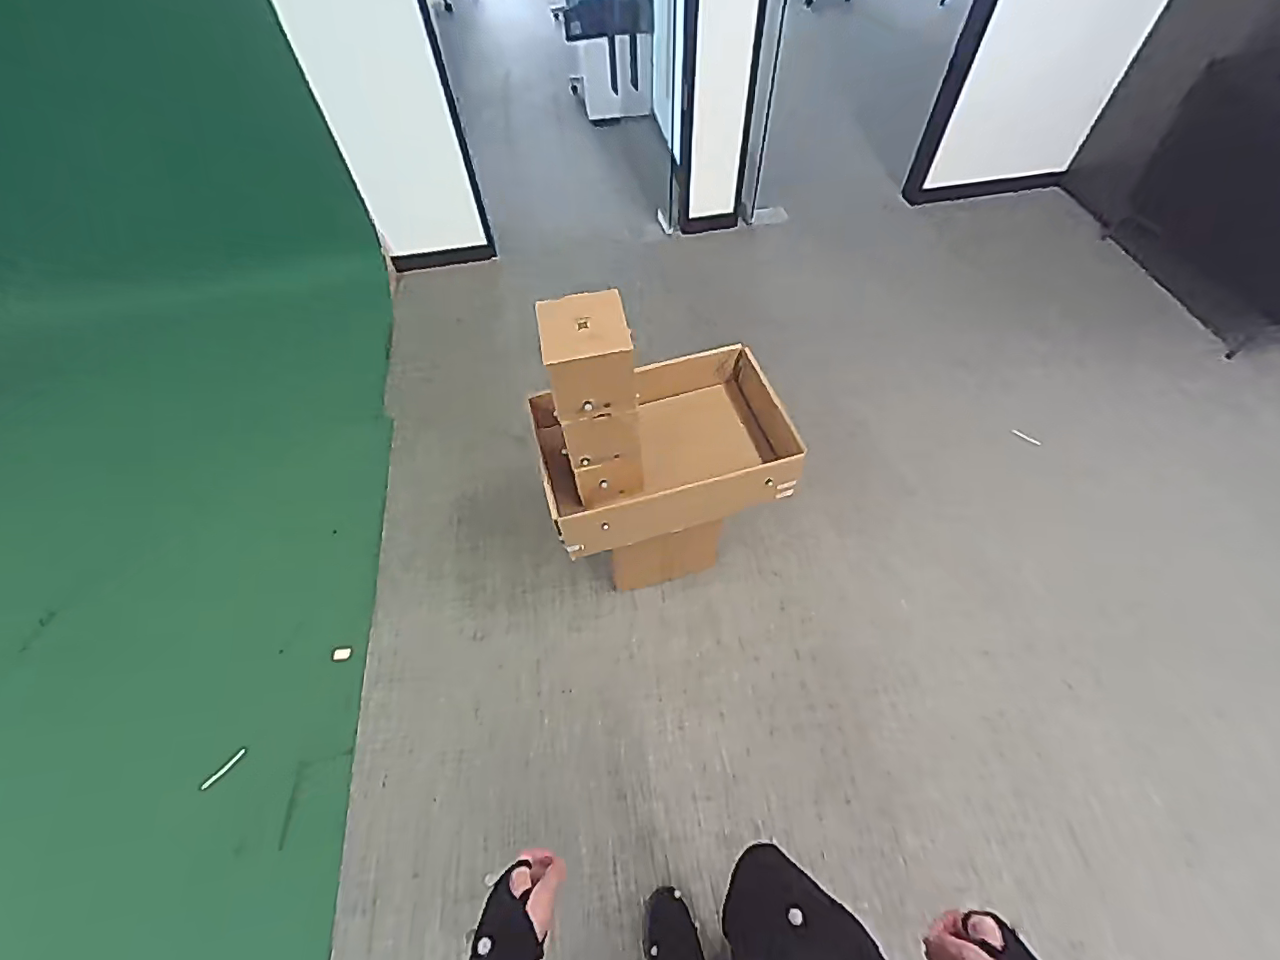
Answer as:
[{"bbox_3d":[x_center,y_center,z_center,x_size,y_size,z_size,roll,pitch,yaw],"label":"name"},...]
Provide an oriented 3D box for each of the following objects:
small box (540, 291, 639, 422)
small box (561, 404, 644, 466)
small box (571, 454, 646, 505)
[{"bbox_3d":[-0.097,-0.240,1.065,0.168,0.176,0.179,-10,57,-4],"label":"small box"},{"bbox_3d":[-0.088,-0.147,1.199,0.168,0.176,0.179,-11,56,-5],"label":"small box"},{"bbox_3d":[-0.085,-0.055,1.335,0.168,0.176,0.179,-14,56,-7],"label":"small box"}]
